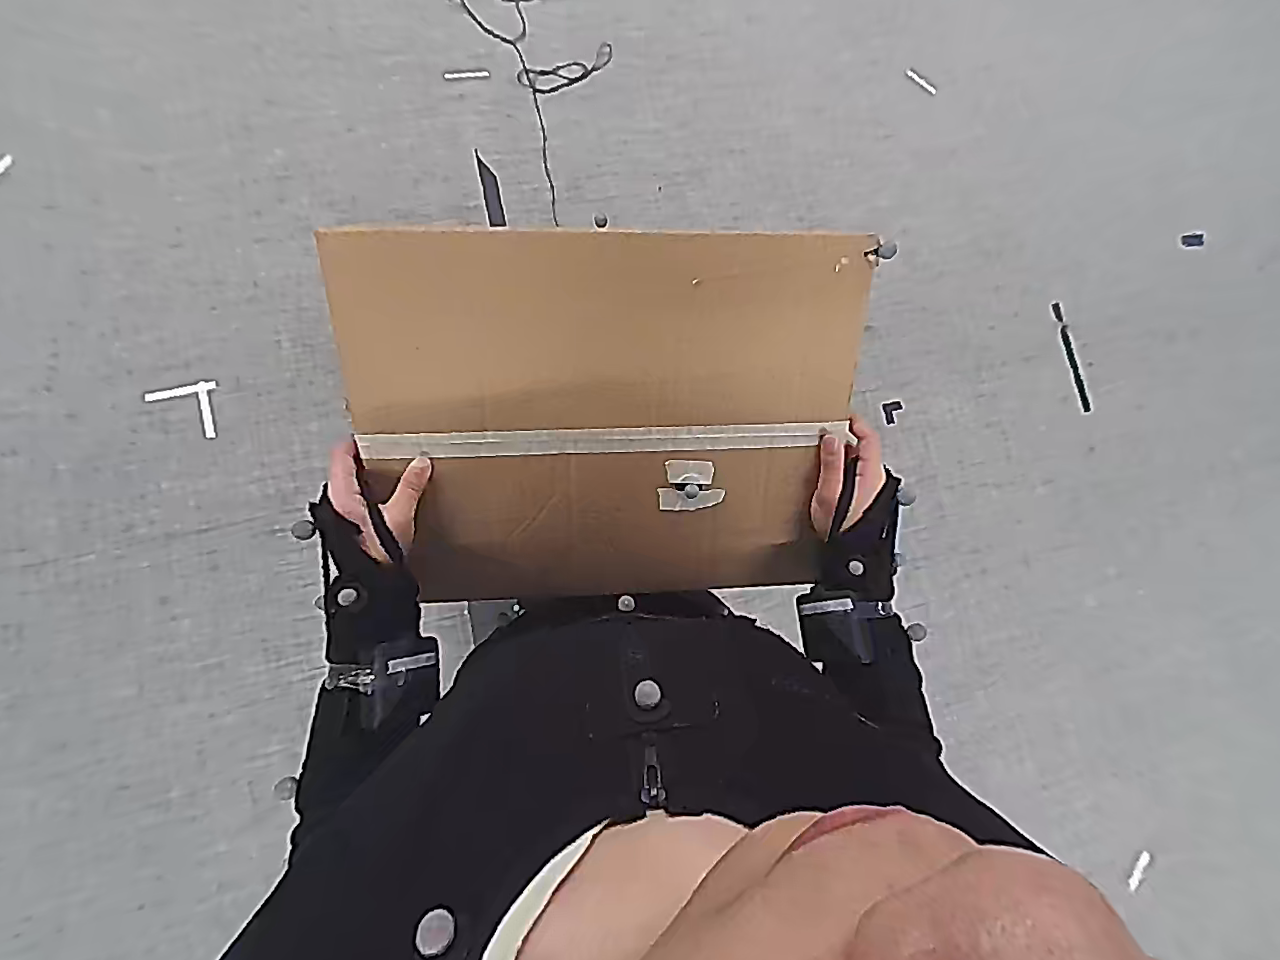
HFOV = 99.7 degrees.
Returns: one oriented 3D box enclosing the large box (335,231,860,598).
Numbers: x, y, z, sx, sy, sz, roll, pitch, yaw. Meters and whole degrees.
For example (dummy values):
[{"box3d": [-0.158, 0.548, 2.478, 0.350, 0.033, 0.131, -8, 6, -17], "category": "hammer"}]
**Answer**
[{"box3d": [-0.039, -0.100, 0.599, 0.408, 0.320, 0.320, -3, 115, -6], "category": "large box"}]
